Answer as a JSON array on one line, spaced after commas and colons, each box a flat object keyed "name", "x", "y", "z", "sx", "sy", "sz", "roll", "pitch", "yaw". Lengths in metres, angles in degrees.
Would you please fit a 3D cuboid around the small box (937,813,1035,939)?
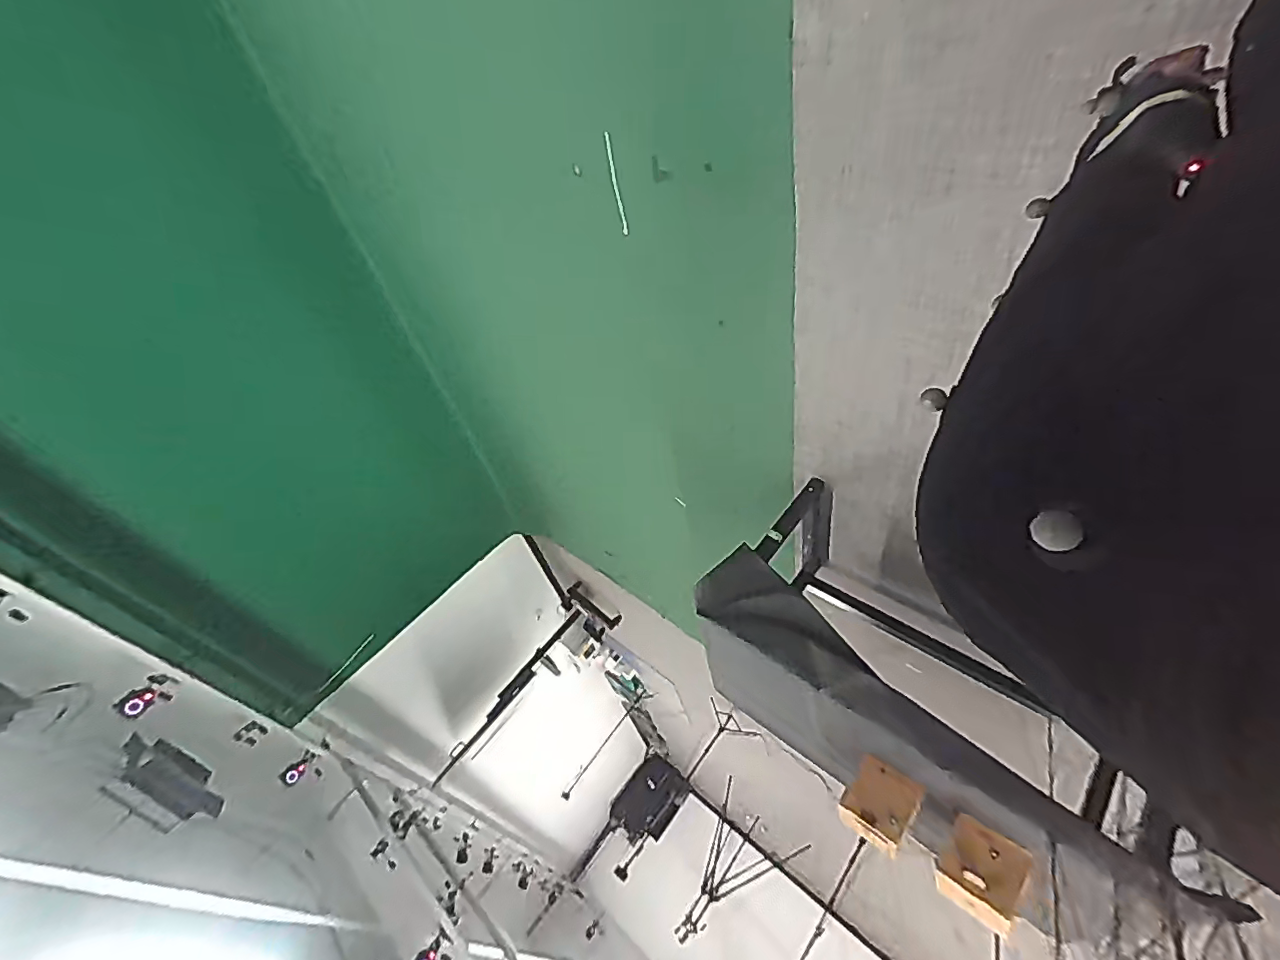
[{"name": "small box", "x": 0.872, "y": 0.992, "z": 1.365, "sx": 0.168, "sy": 0.176, "sz": 0.179, "roll": 19, "pitch": 143, "yaw": 44}]
